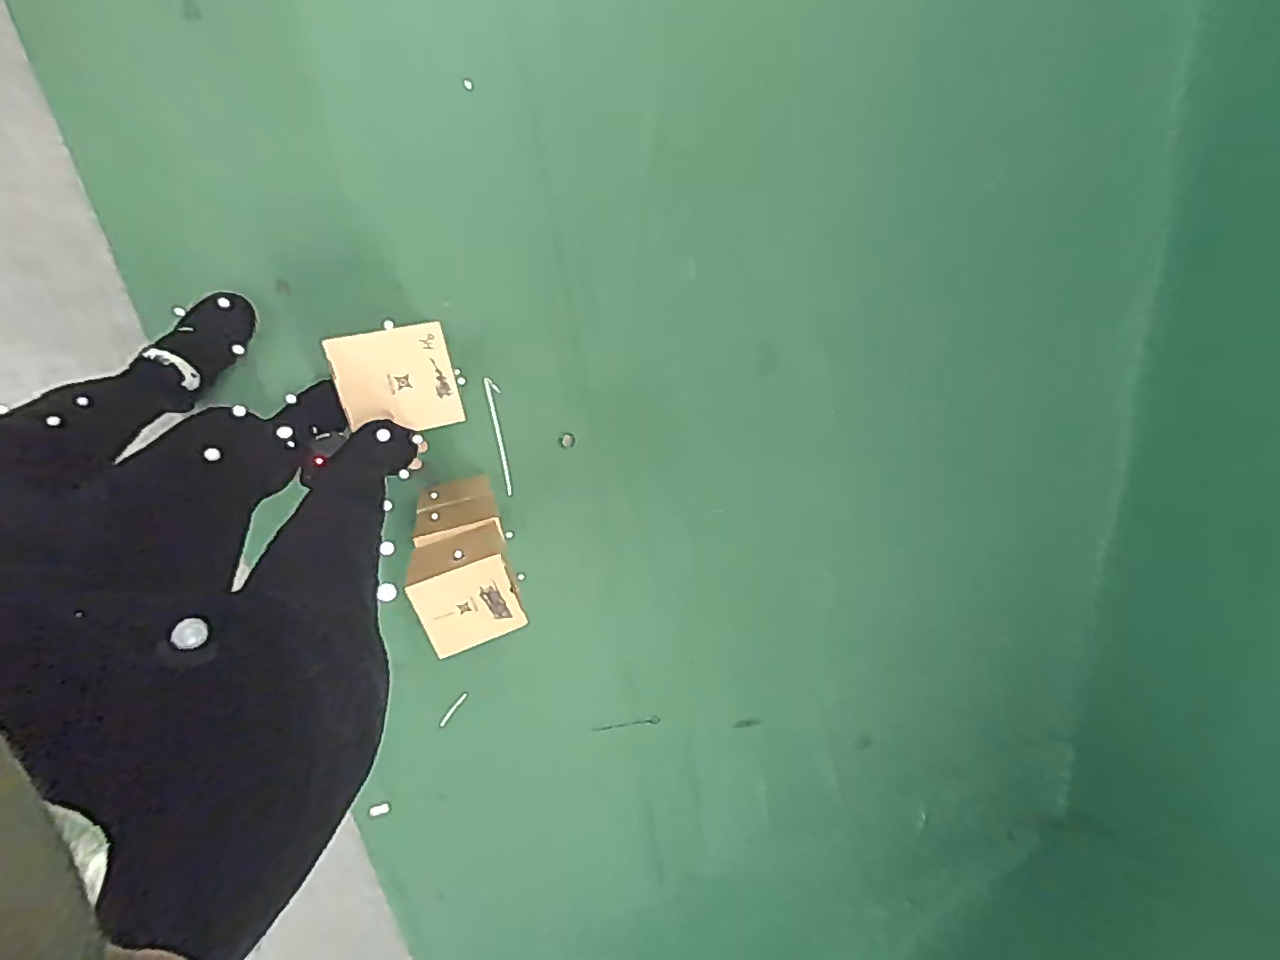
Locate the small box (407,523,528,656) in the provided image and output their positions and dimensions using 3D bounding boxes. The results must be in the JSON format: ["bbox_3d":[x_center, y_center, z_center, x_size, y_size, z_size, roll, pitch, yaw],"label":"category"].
[{"bbox_3d":[-0.338,0.207,1.068,0.179,0.176,0.168,-19,112,-10],"label":"small box"}]

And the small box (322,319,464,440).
[{"bbox_3d":[-0.409,-0.176,0.928,0.179,0.176,0.168,-15,109,-14],"label":"small box"}]

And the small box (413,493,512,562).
[{"bbox_3d":[-0.389,0.146,1.212,0.179,0.176,0.168,-15,111,-13],"label":"small box"}]
